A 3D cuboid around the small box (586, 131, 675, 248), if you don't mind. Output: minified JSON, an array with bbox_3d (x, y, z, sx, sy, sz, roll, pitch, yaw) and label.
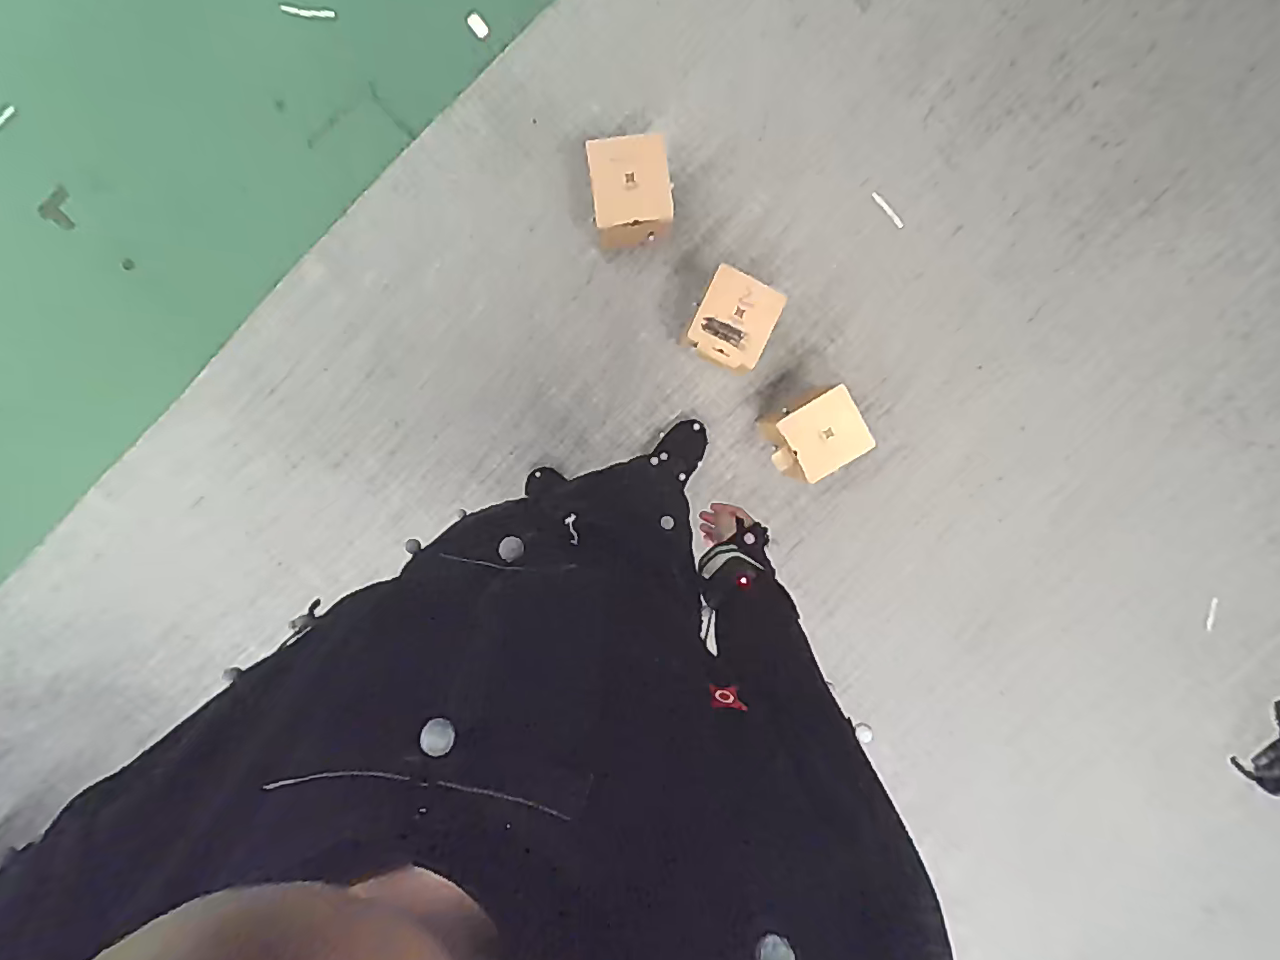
[{"bbox_3d":[-0.022,-0.628,1.195,0.168,0.176,0.179,-9,96,-3],"label":"small box"}]

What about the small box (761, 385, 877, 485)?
[{"bbox_3d":[0.415,-0.112,1.278,0.179,0.176,0.168,-31,98,2],"label":"small box"}]
